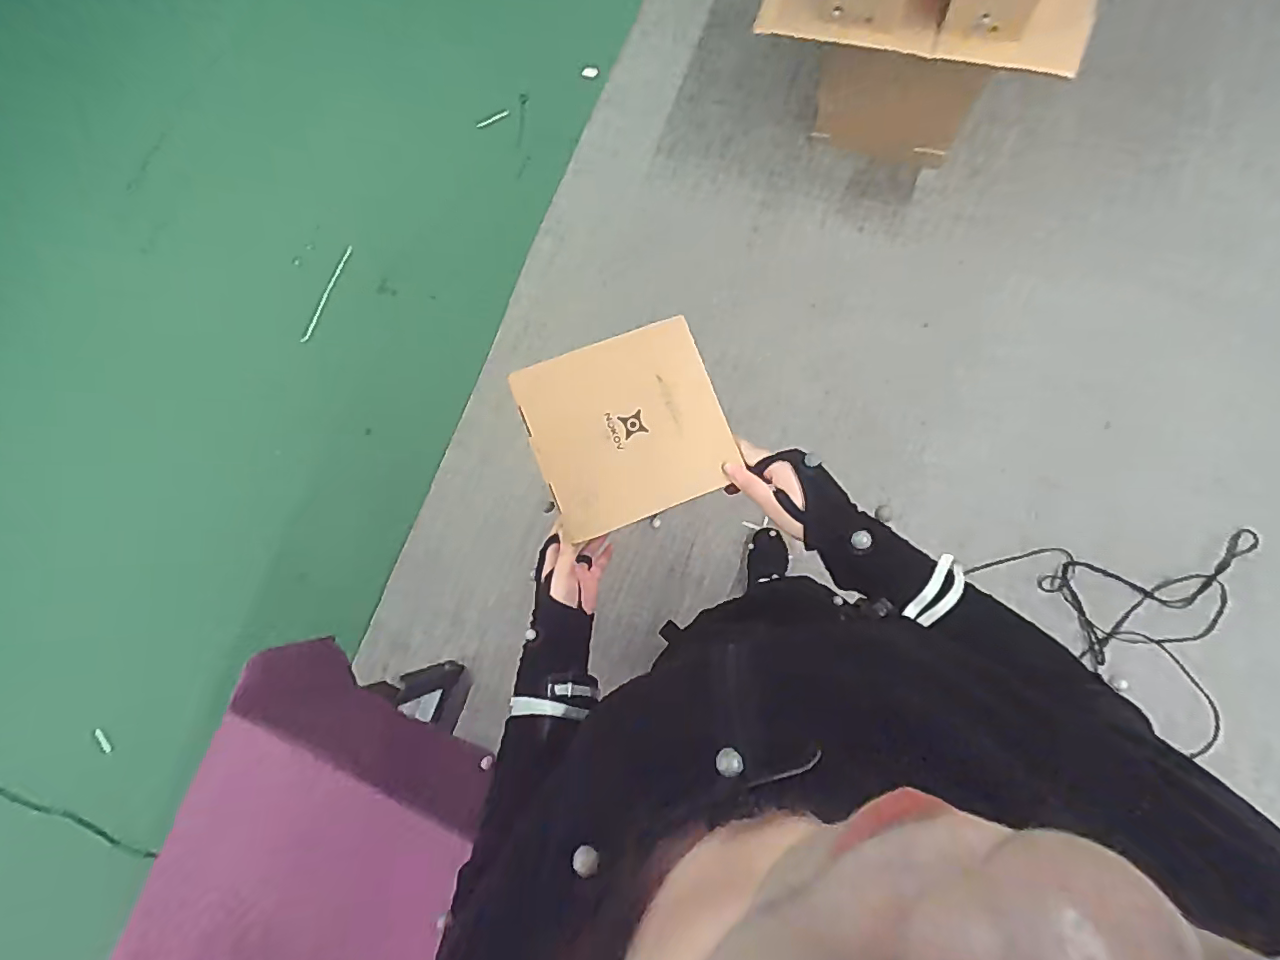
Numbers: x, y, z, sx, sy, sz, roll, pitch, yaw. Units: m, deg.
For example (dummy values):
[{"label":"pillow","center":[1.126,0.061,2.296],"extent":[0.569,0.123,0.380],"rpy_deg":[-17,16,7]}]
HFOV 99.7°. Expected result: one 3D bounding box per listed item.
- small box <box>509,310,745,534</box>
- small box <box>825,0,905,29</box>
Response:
[{"label":"small box","center":[-0.017,-0.046,0.564],"extent":[0.179,0.176,0.168],"rpy_deg":[-20,87,-7]},{"label":"small box","center":[0.510,-1.122,1.157],"extent":[0.168,0.176,0.179],"rpy_deg":[20,82,12]}]
